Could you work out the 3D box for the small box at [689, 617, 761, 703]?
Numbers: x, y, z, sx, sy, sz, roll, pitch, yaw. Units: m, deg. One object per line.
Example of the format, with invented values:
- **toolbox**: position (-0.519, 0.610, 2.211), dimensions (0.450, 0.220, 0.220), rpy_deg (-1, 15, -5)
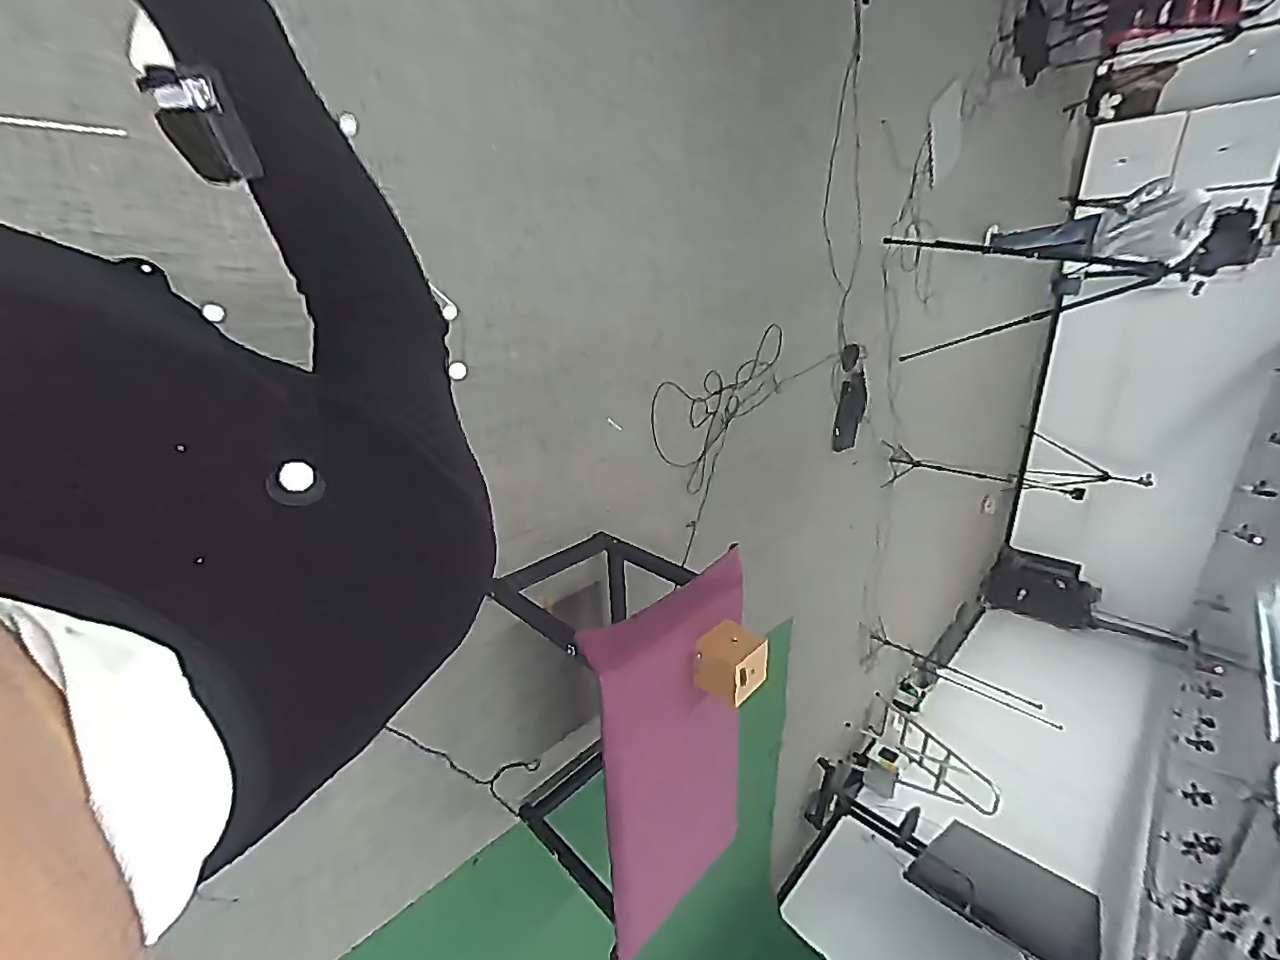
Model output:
- **small box**: position (0.270, 0.574, 1.748), dimensions (0.179, 0.176, 0.168), rpy_deg (-22, 119, -41)
